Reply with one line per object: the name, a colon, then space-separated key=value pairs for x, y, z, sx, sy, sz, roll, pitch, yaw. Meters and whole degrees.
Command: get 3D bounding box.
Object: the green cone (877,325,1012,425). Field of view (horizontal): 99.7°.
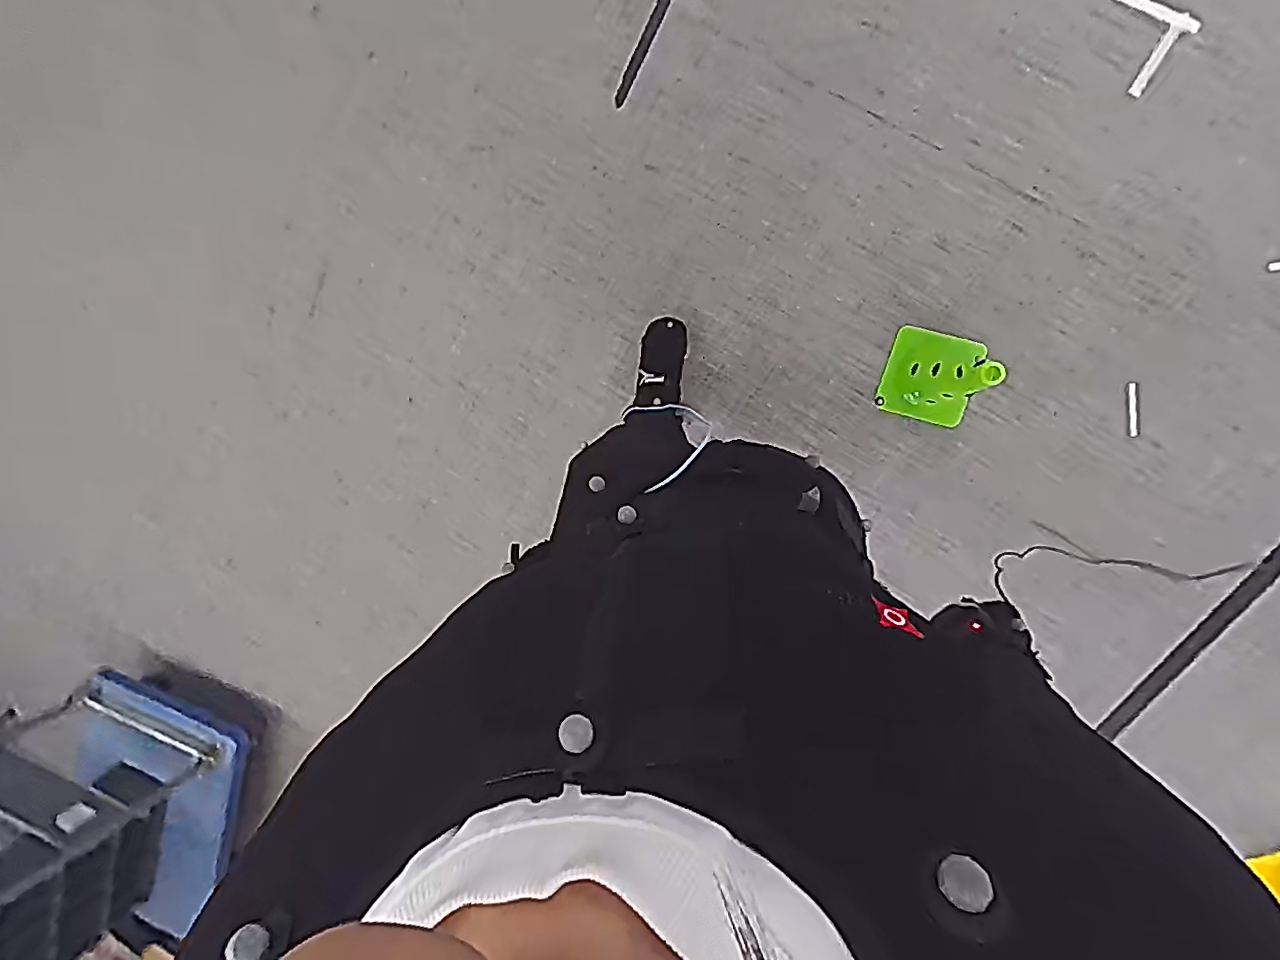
green cone: x=0.647 y=-0.217 z=1.091 sx=0.200 sy=0.368 sz=0.202 roll=16 pitch=101 yaw=8
